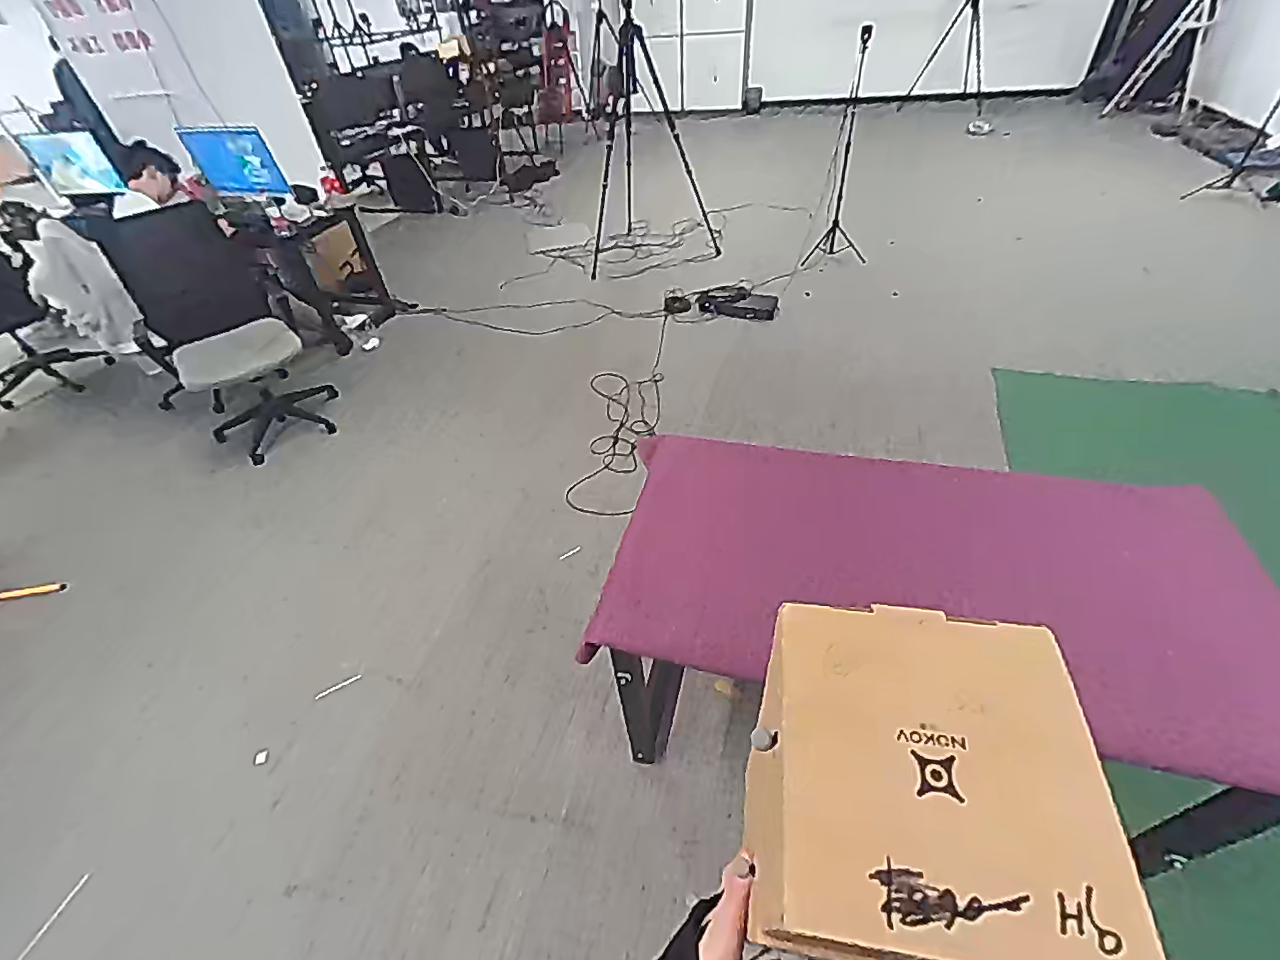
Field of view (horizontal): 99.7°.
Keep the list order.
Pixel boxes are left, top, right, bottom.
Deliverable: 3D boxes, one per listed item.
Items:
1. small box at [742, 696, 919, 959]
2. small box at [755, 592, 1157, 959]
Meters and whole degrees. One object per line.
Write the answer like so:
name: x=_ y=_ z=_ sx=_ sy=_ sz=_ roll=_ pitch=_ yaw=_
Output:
small box: x=0.180 y=0.308 z=0.477 sx=0.168 sy=0.176 sz=0.179 roll=5 pitch=51 yaw=11
small box: x=0.165 y=0.197 z=0.357 sx=0.168 sy=0.176 sz=0.179 roll=3 pitch=51 yaw=11
